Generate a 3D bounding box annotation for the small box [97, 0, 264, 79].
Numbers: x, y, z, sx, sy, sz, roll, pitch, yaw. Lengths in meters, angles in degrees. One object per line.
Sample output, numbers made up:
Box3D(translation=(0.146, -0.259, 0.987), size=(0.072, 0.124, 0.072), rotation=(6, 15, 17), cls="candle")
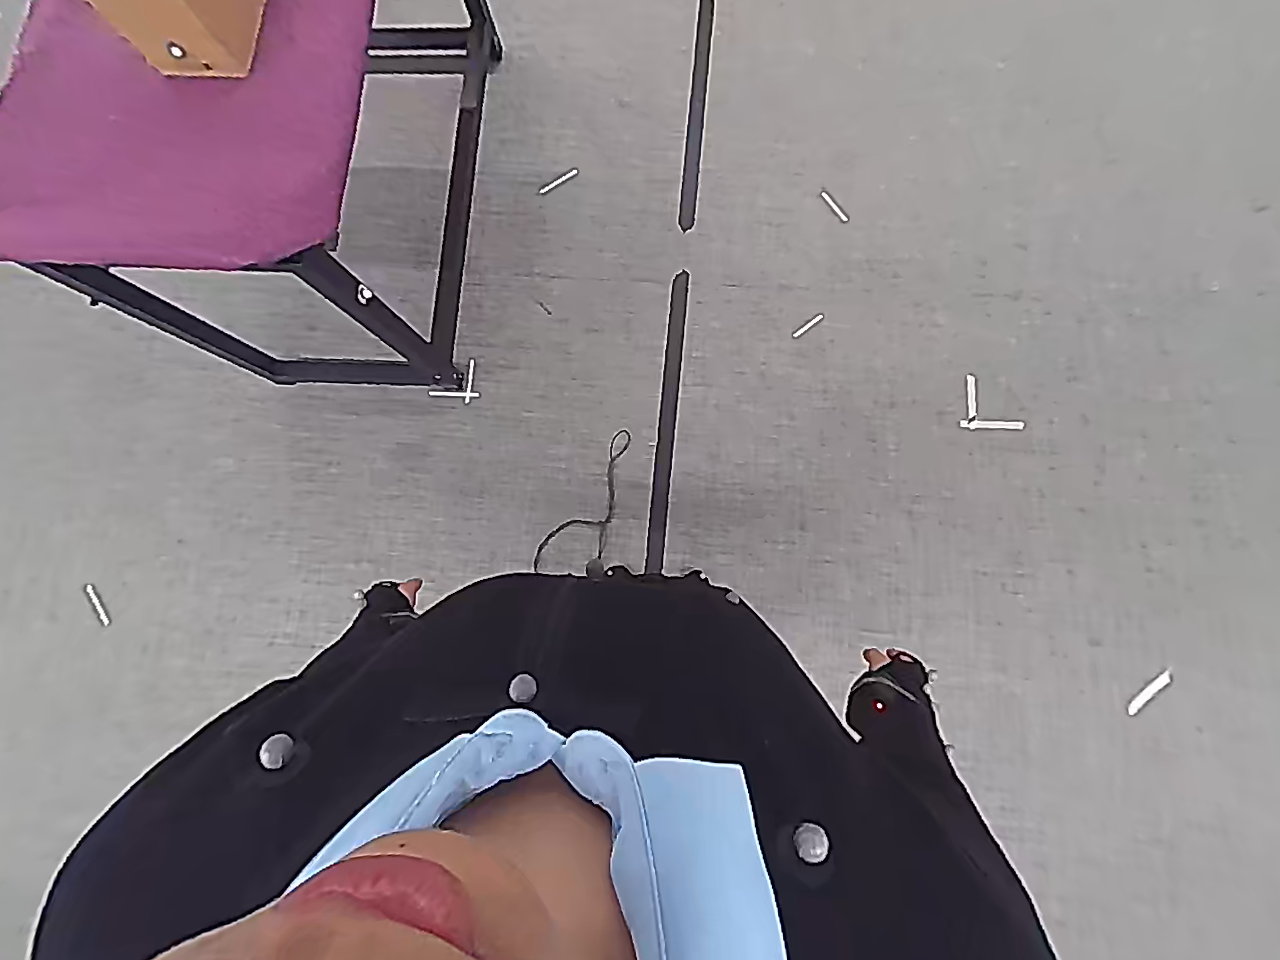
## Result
Box3D(translation=(-0.765, -0.813, 0.892), size=(0.168, 0.176, 0.179), rotation=(5, 81, 4), cls="small box")
